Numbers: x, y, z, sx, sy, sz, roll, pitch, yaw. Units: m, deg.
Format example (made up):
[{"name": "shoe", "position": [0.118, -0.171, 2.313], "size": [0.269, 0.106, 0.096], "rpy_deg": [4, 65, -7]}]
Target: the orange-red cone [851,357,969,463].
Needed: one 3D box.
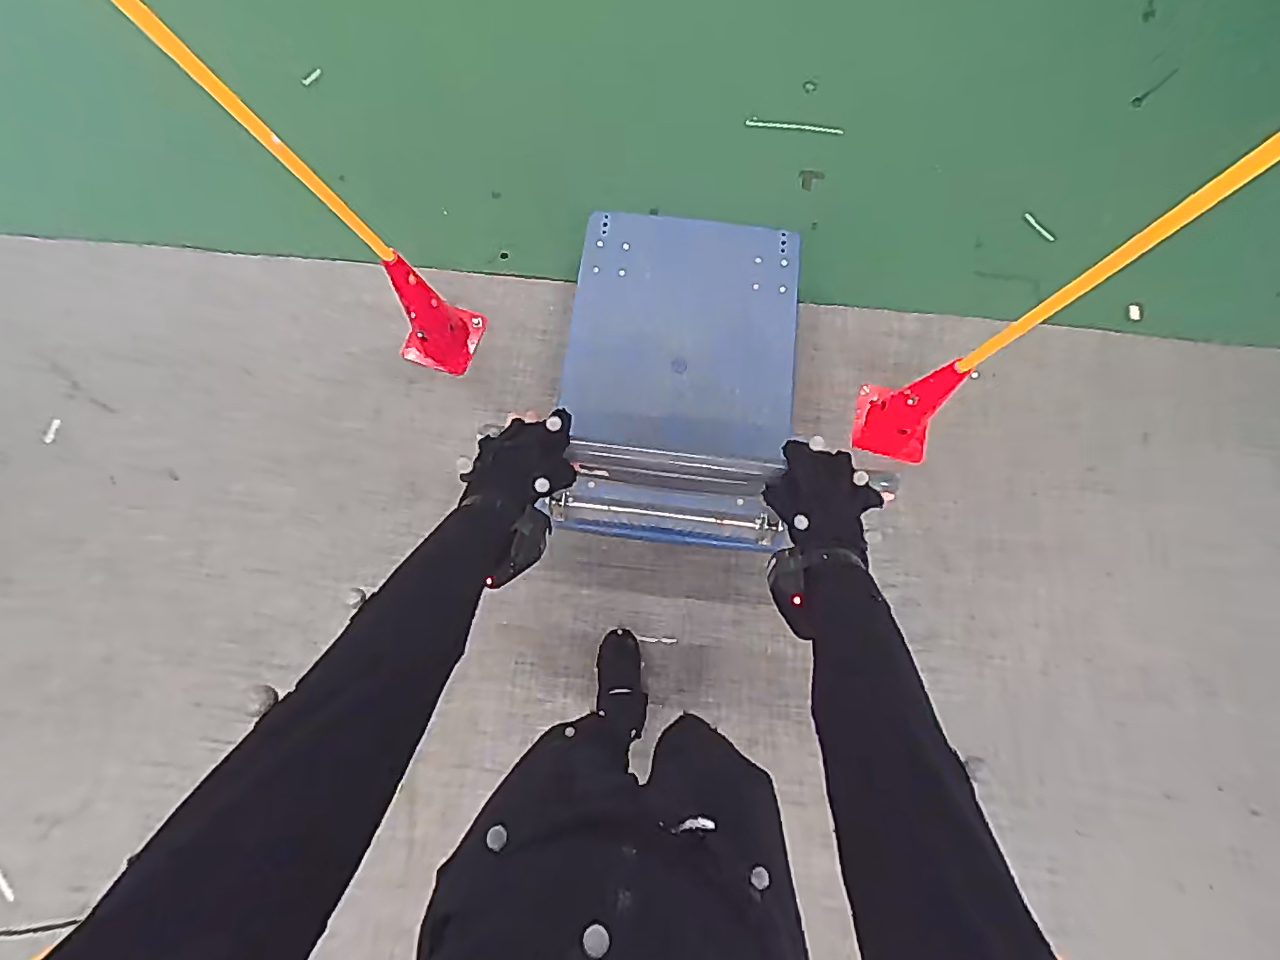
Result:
[{"name": "orange-red cone", "position": [0.696, -0.201, 1.335], "size": [0.198, 0.360, 0.199], "rpy_deg": [16, 76, 5]}]
